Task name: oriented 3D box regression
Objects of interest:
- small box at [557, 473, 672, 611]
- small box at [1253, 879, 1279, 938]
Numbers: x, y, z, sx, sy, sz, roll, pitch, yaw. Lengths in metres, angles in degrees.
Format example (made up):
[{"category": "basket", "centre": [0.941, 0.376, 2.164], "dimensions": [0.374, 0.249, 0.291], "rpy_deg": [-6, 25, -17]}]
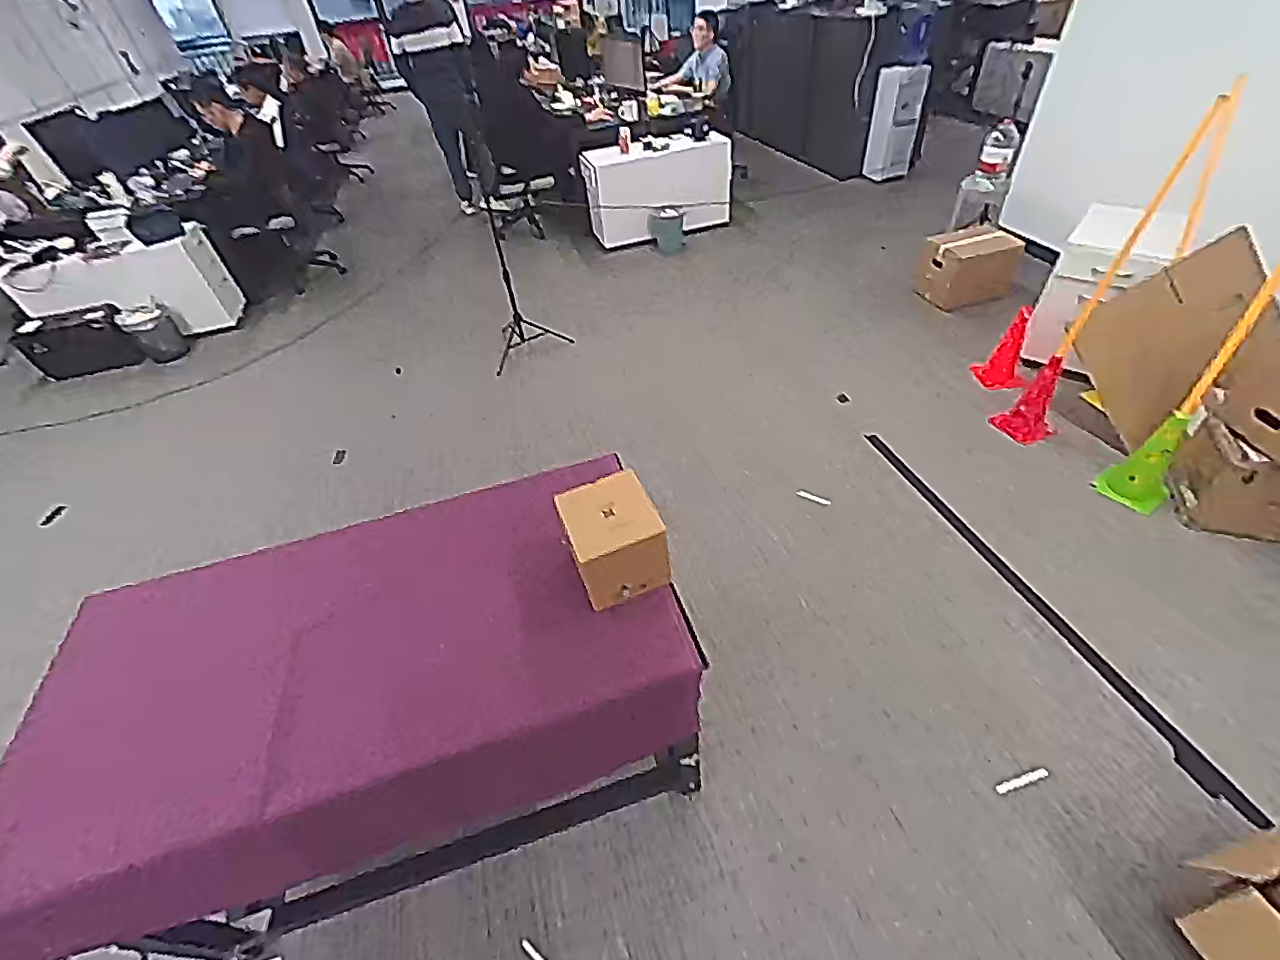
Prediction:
[{"category": "small box", "centre": [-0.047, 0.121, 1.051], "dimensions": [0.168, 0.176, 0.179], "rpy_deg": [-20, 45, -10]}, {"category": "small box", "centre": [1.279, 0.800, 0.964], "dimensions": [0.179, 0.176, 0.168], "rpy_deg": [-17, 46, -9]}]
